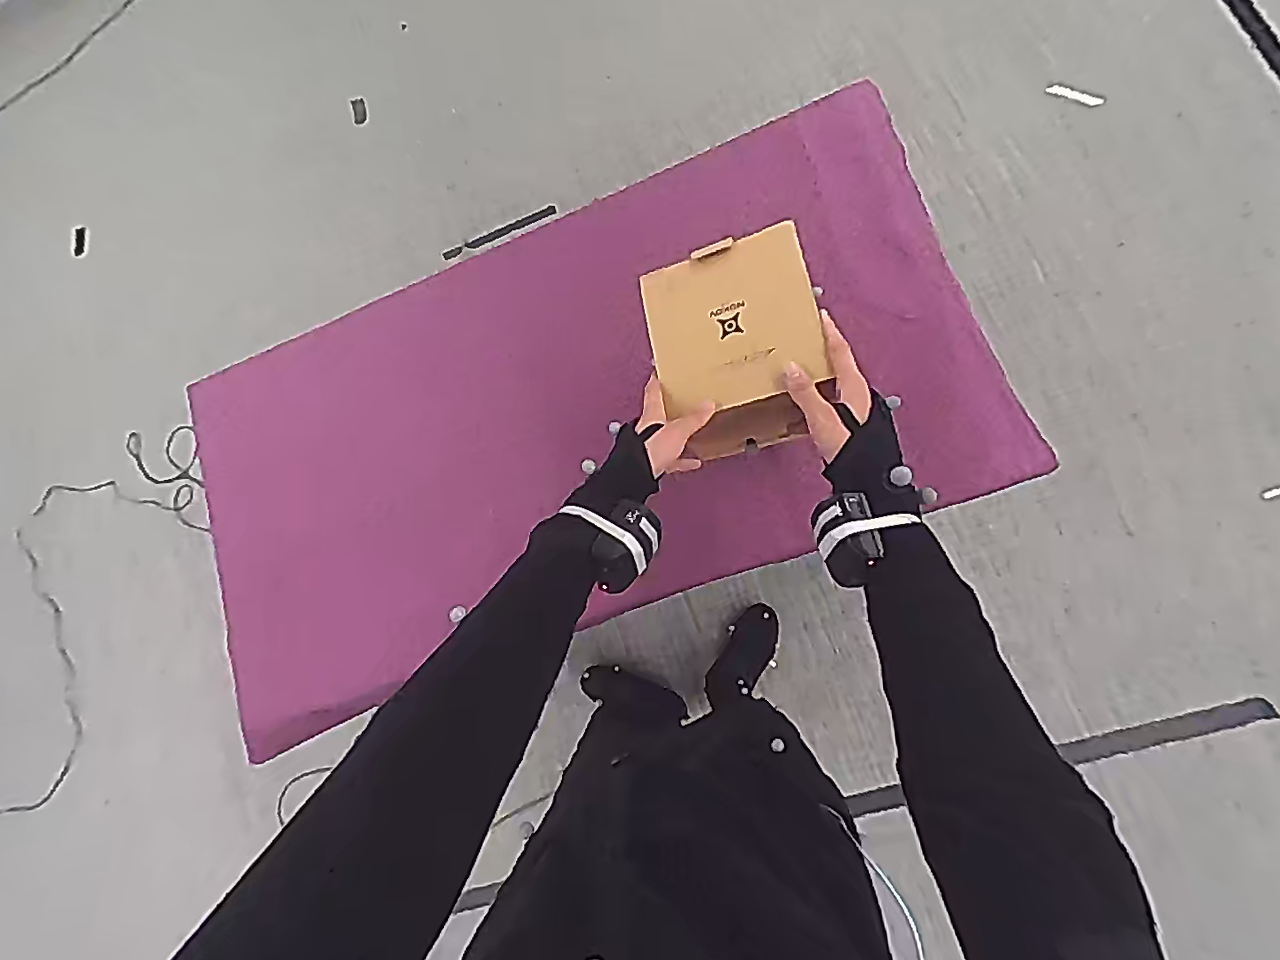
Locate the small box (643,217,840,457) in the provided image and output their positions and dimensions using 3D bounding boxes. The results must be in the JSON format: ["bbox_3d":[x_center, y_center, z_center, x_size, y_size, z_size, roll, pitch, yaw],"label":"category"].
[{"bbox_3d":[0.116,-0.140,0.595,0.168,0.176,0.179,-13,75,18],"label":"small box"}]
